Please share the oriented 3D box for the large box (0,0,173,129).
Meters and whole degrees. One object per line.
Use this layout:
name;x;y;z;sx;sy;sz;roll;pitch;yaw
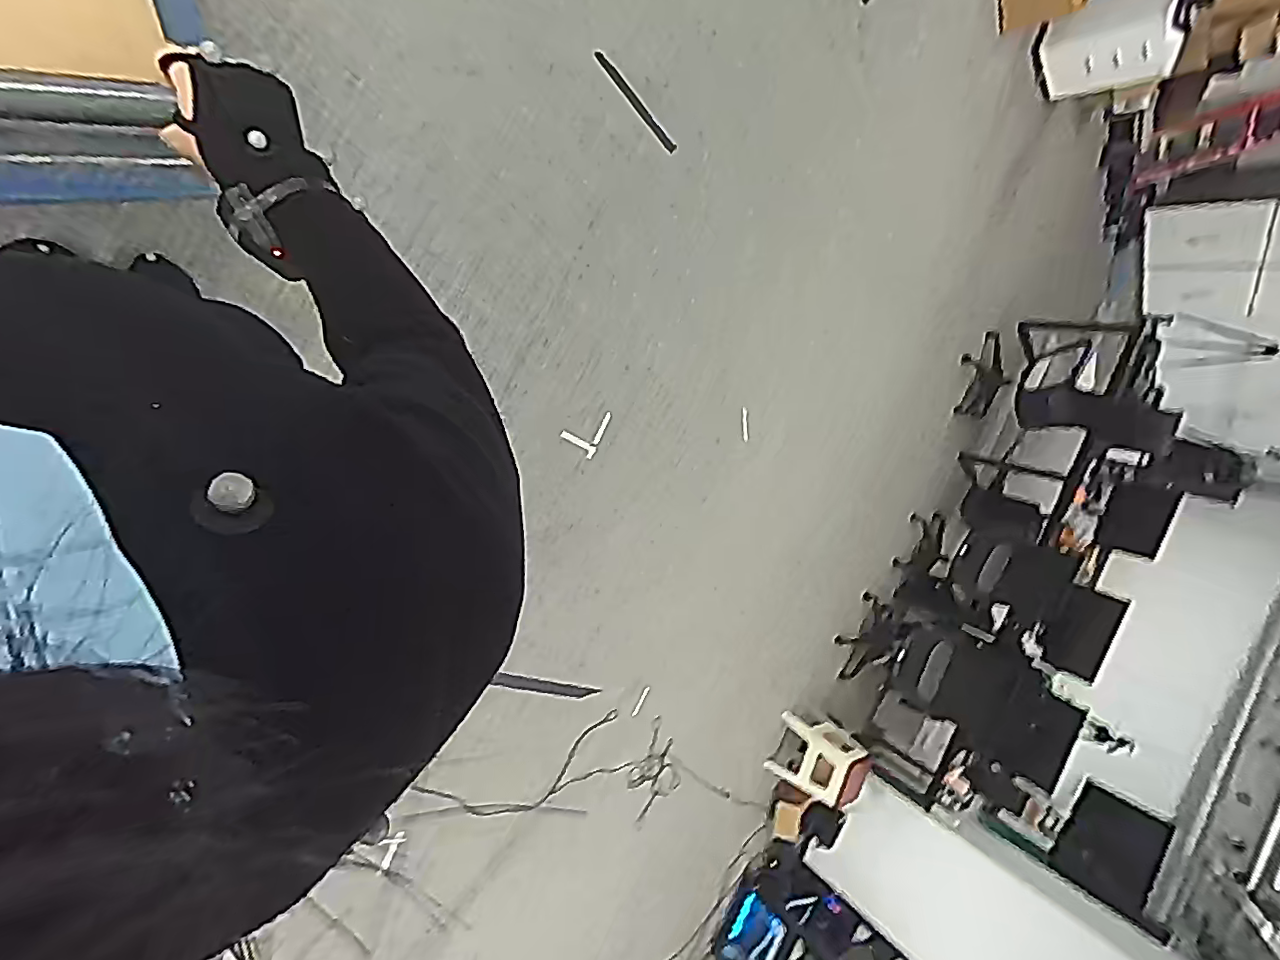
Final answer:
large box;-0.865;-0.630;0.633;0.408;0.320;0.320;-23;120;-36
